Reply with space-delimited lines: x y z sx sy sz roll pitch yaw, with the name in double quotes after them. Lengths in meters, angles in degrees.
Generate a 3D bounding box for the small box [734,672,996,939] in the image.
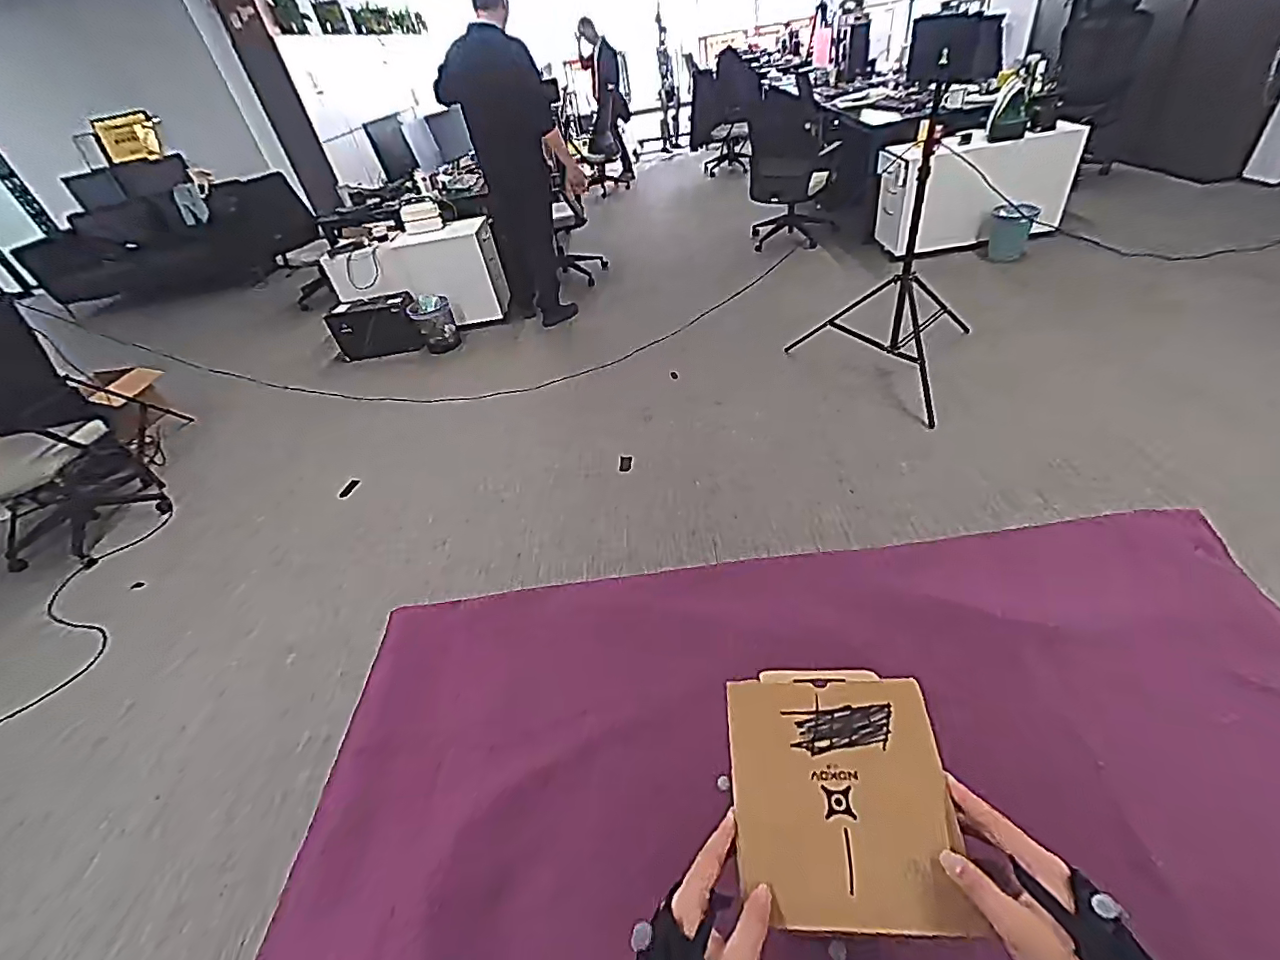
0.172 0.290 0.483 0.168 0.176 0.179 -4 49 8 "small box"
